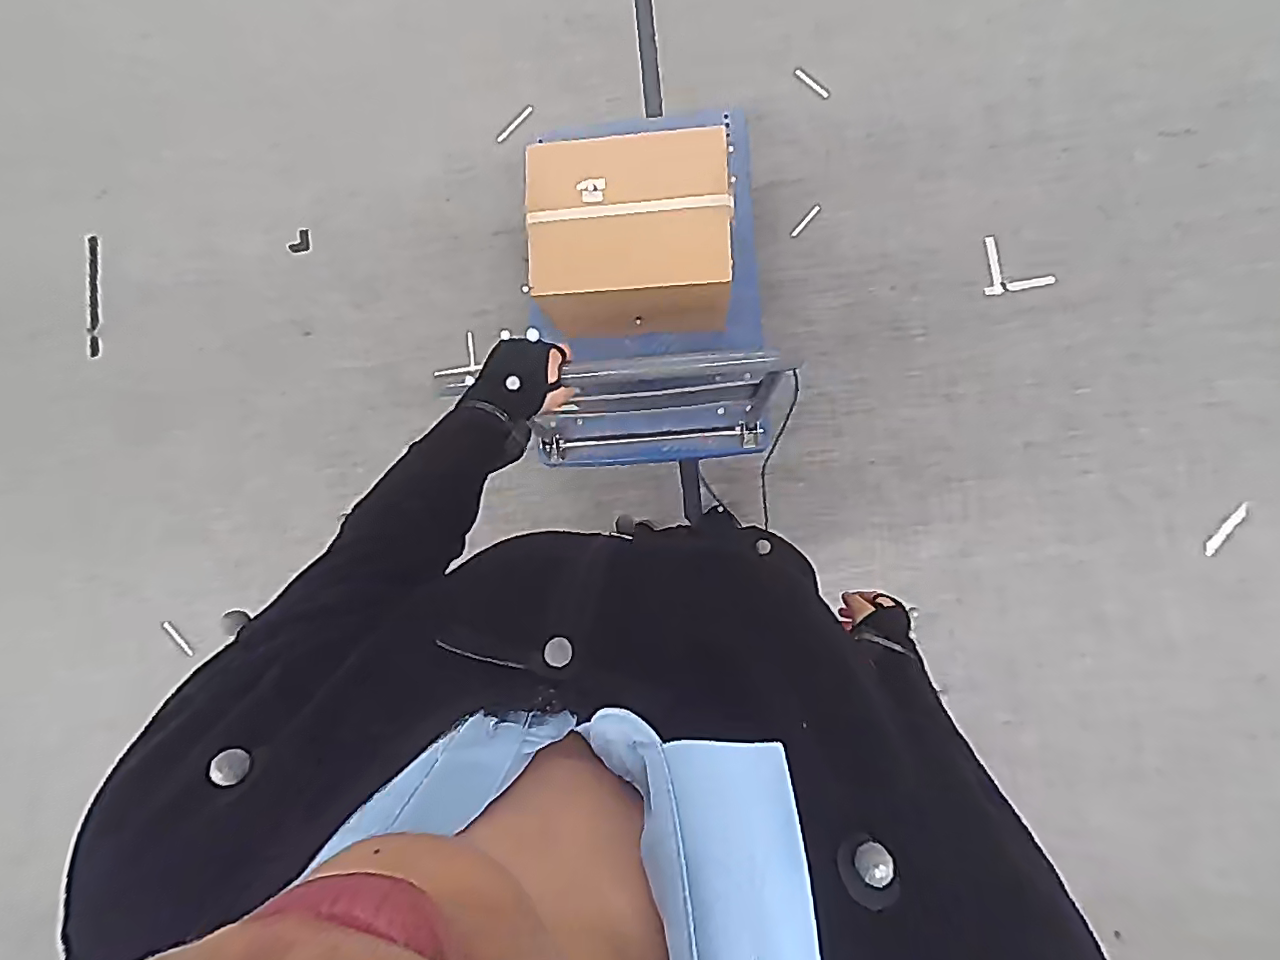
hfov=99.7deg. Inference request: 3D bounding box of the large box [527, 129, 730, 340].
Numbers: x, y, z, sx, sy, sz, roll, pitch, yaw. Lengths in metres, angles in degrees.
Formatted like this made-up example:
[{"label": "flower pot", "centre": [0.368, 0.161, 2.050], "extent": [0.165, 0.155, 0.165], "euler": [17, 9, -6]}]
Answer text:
[{"label": "large box", "centre": [-0.009, -0.524, 1.227], "extent": [0.408, 0.320, 0.320], "euler": [-2, 86, 7]}]
